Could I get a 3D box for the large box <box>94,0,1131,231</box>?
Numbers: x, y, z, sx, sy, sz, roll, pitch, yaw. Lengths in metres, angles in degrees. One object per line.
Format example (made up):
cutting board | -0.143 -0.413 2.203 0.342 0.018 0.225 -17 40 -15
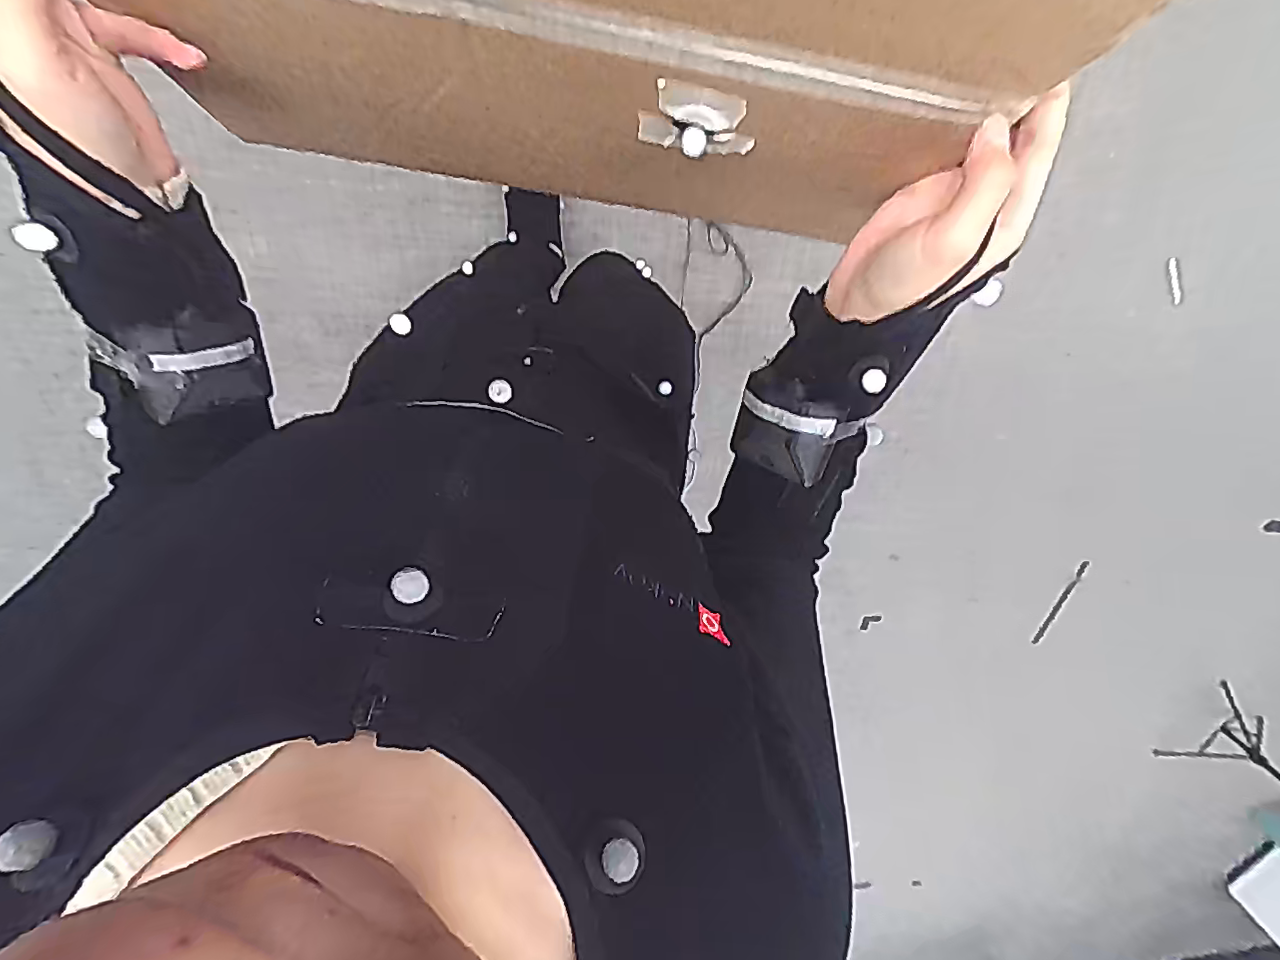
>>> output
large box | -0.021 -0.338 0.209 0.408 0.320 0.320 6 93 -7
